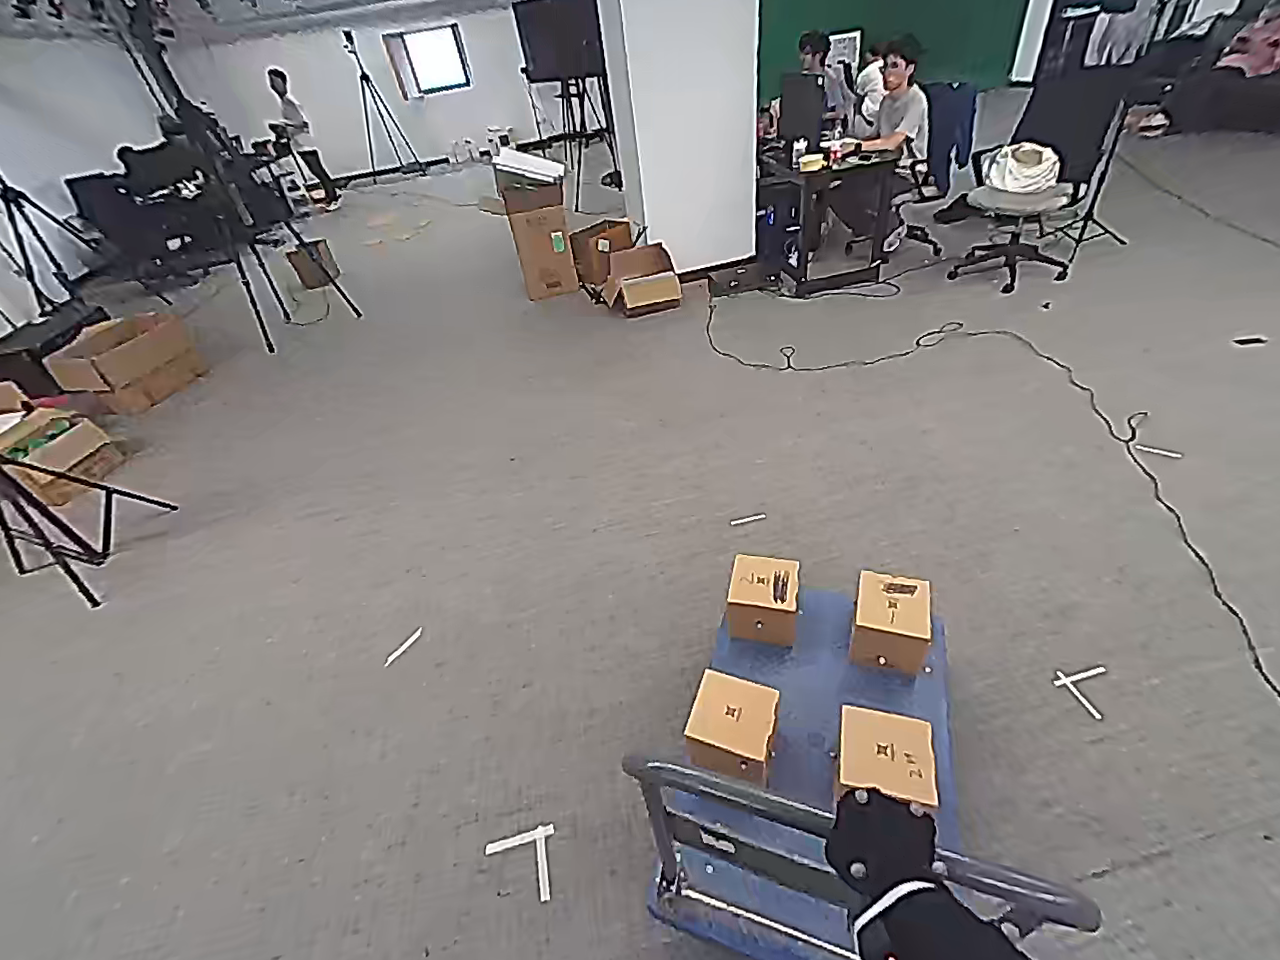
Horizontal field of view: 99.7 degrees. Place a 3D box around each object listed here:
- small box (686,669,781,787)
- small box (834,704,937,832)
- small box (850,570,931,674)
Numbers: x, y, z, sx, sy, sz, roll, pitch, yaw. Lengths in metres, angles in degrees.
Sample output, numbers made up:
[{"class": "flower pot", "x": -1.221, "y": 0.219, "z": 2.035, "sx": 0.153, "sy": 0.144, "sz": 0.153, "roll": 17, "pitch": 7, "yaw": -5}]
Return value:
[{"class": "small box", "x": 0.216, "y": 0.569, "z": 1.237, "sx": 0.179, "sy": 0.176, "sz": 0.168, "roll": 10, "pitch": 44, "yaw": 21}, {"class": "small box", "x": 0.506, "y": 0.604, "z": 1.134, "sx": 0.179, "sy": 0.176, "sz": 0.168, "roll": 6, "pitch": 43, "yaw": 18}, {"class": "small box", "x": 0.640, "y": 0.364, "z": 1.389, "sx": 0.168, "sy": 0.176, "sz": 0.179, "roll": 8, "pitch": 44, "yaw": 21}]
